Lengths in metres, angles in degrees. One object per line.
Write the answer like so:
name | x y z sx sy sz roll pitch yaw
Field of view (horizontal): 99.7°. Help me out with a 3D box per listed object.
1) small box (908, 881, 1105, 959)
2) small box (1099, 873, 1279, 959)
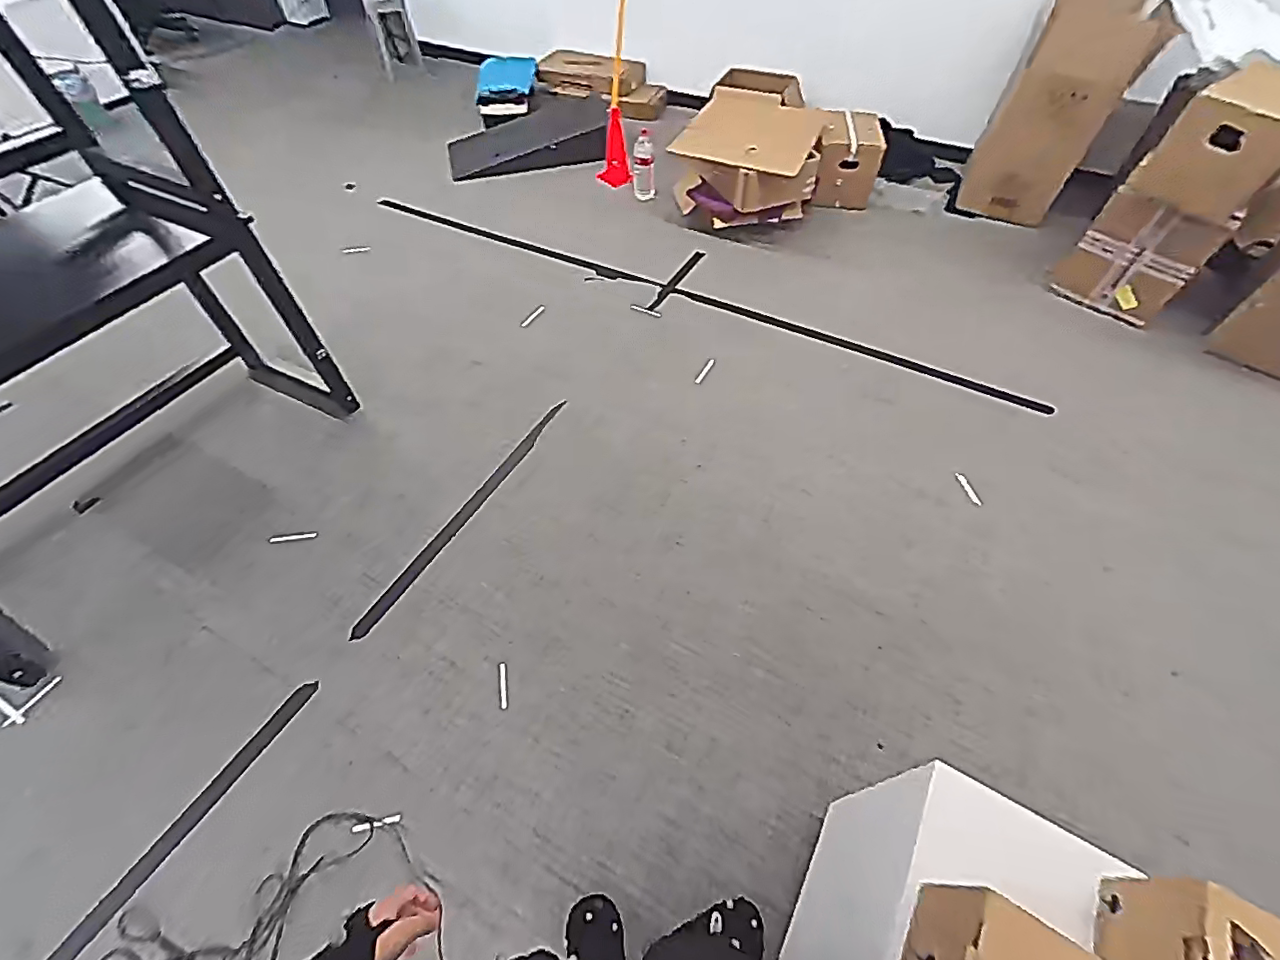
small box | 0.397 0.569 0.573 0.179 0.176 0.168 28 59 19
small box | 0.632 0.562 0.576 0.179 0.176 0.168 27 59 18
